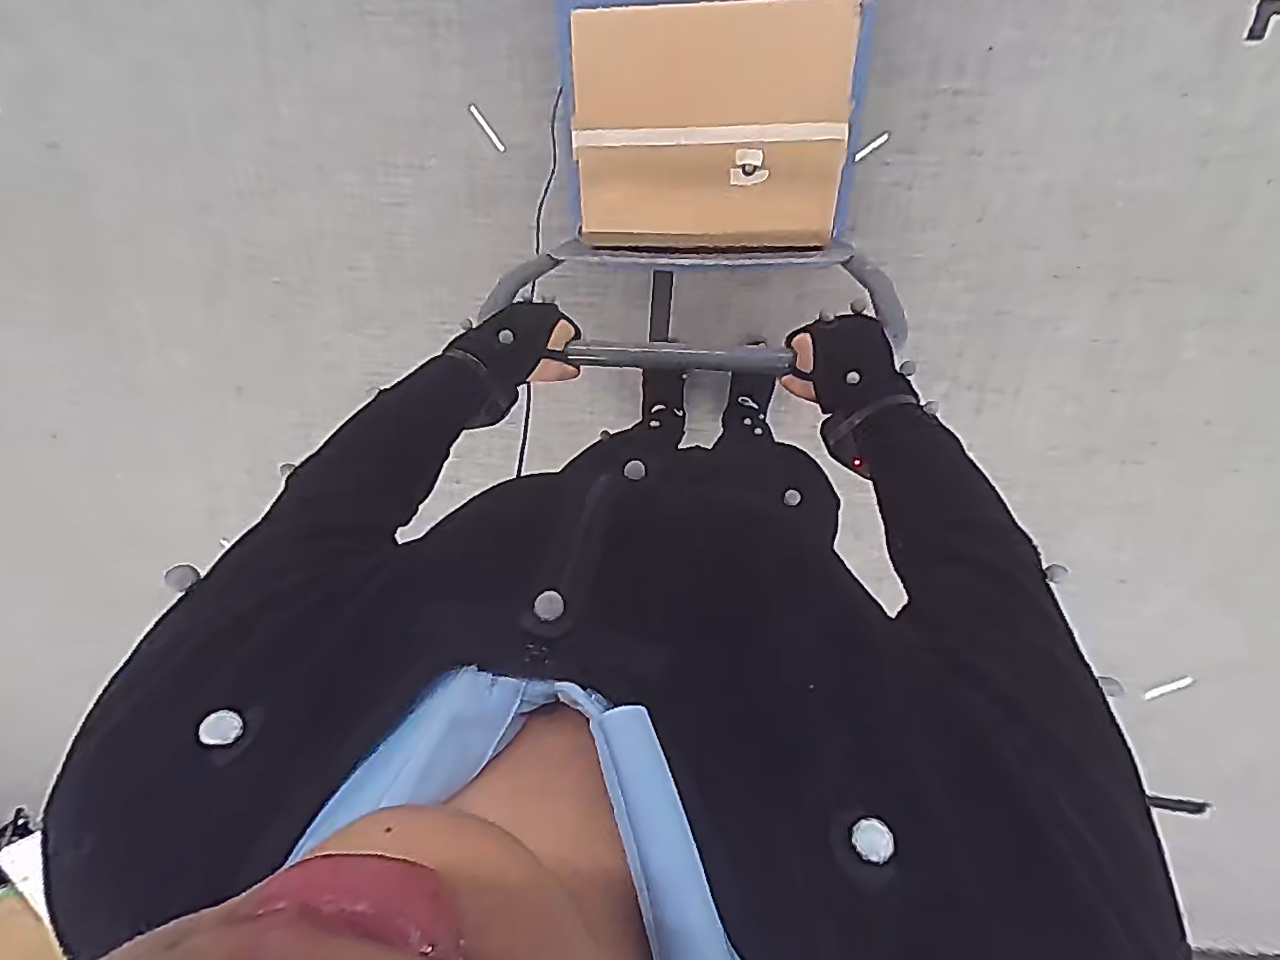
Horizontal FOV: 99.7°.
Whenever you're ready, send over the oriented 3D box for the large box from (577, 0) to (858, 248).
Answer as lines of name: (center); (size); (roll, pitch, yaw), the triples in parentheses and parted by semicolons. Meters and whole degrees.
large box: (0.125, -0.596, 0.963); (0.408, 0.320, 0.320); (3, 117, 7)
